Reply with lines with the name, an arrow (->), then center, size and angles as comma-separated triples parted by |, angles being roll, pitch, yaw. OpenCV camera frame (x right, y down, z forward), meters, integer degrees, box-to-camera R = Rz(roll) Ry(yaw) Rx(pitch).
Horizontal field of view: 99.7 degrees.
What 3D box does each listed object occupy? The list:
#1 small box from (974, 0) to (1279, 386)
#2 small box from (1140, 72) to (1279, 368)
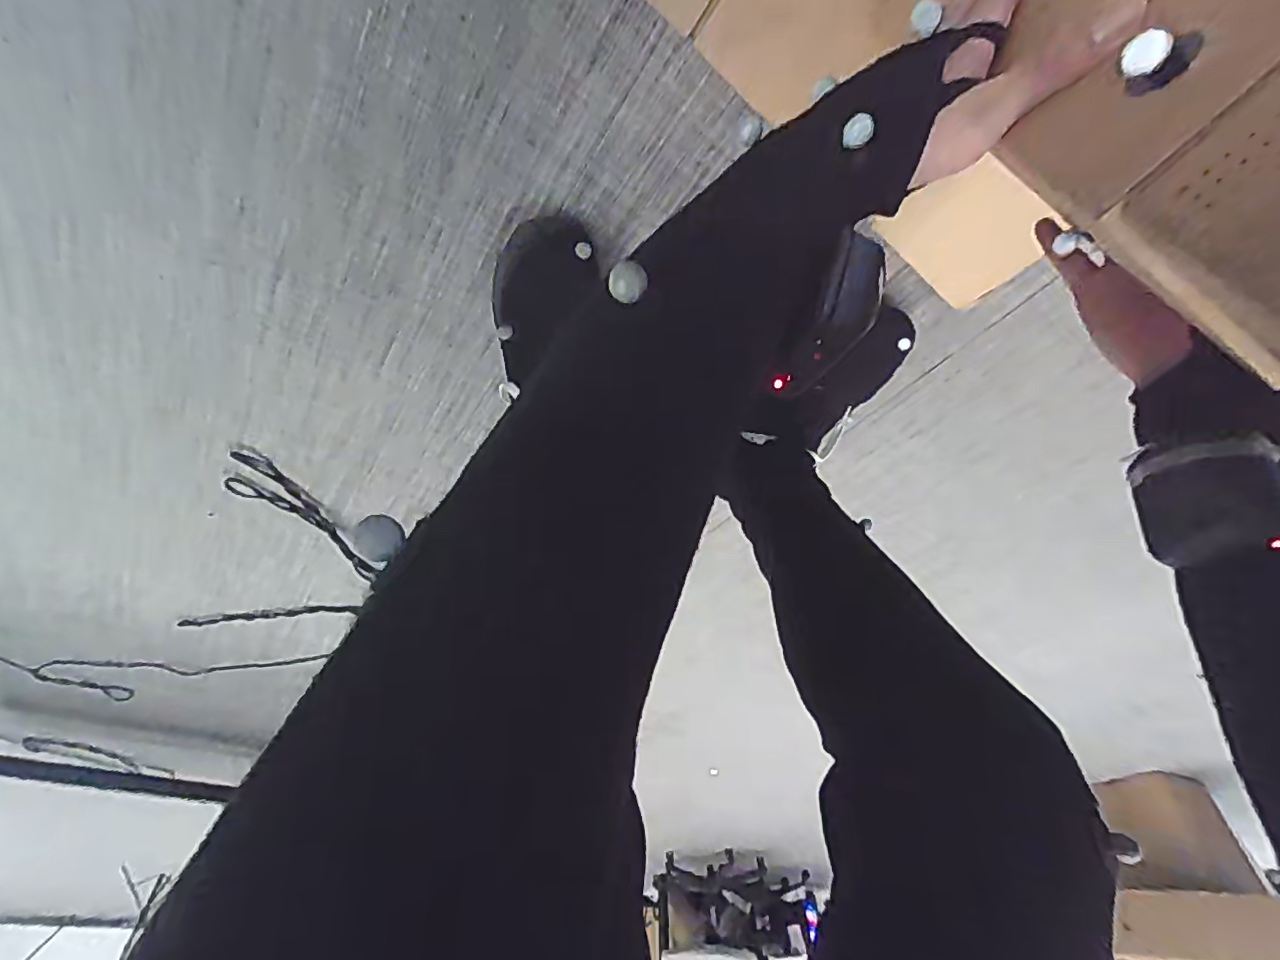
small box -> 0.284, -0.181, 0.233 | 0.168, 0.176, 0.179 | 21, 134, -22
small box -> 0.287, -0.065, 0.117 | 0.168, 0.176, 0.179 | 20, 133, -21
